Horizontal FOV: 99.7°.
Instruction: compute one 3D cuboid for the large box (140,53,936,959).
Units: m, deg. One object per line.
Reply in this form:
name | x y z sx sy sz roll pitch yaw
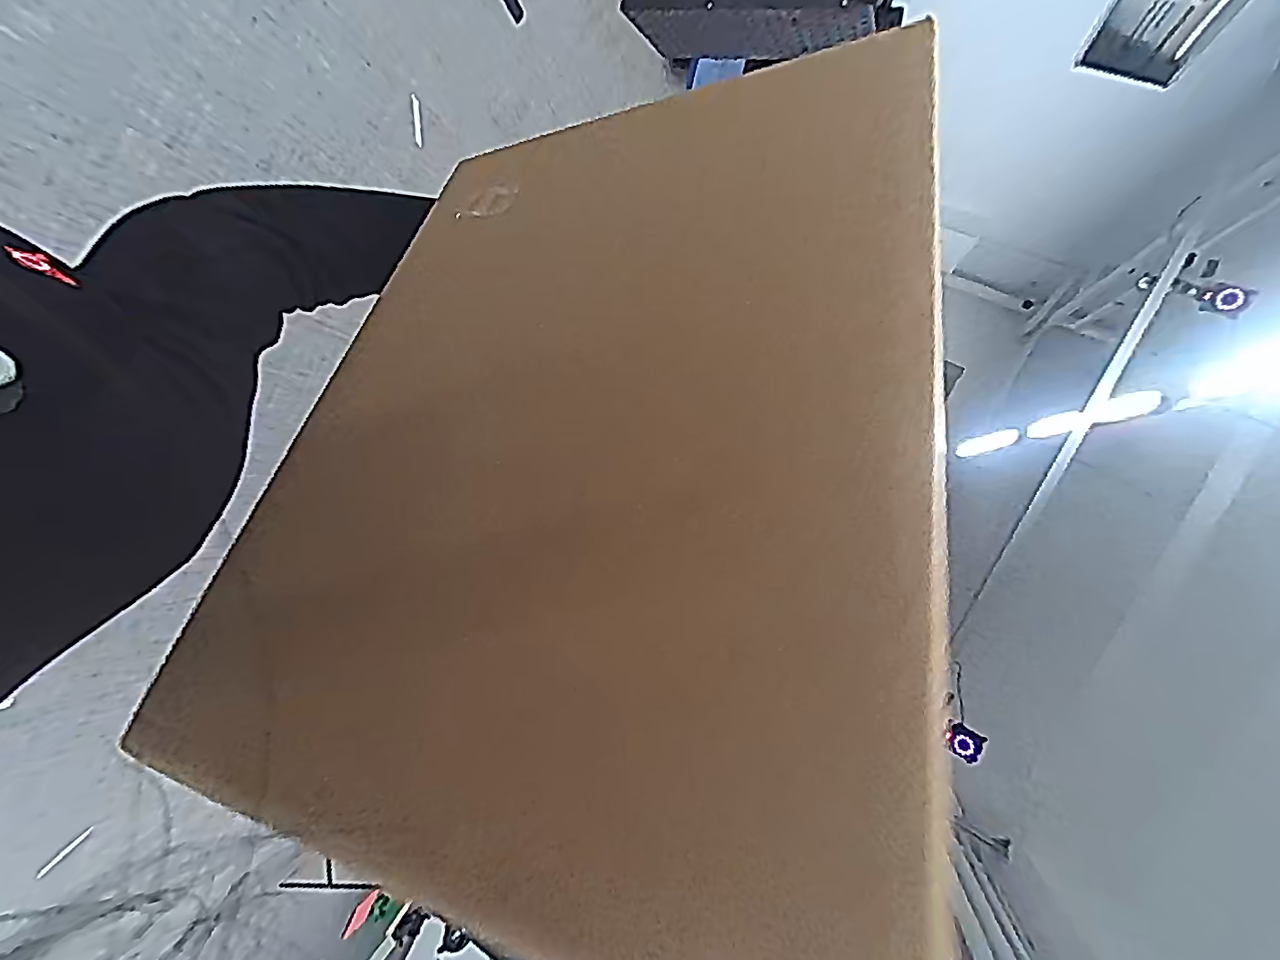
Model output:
large box | 0.014 0.015 0.375 0.320 0.320 0.408 54 46 -53
